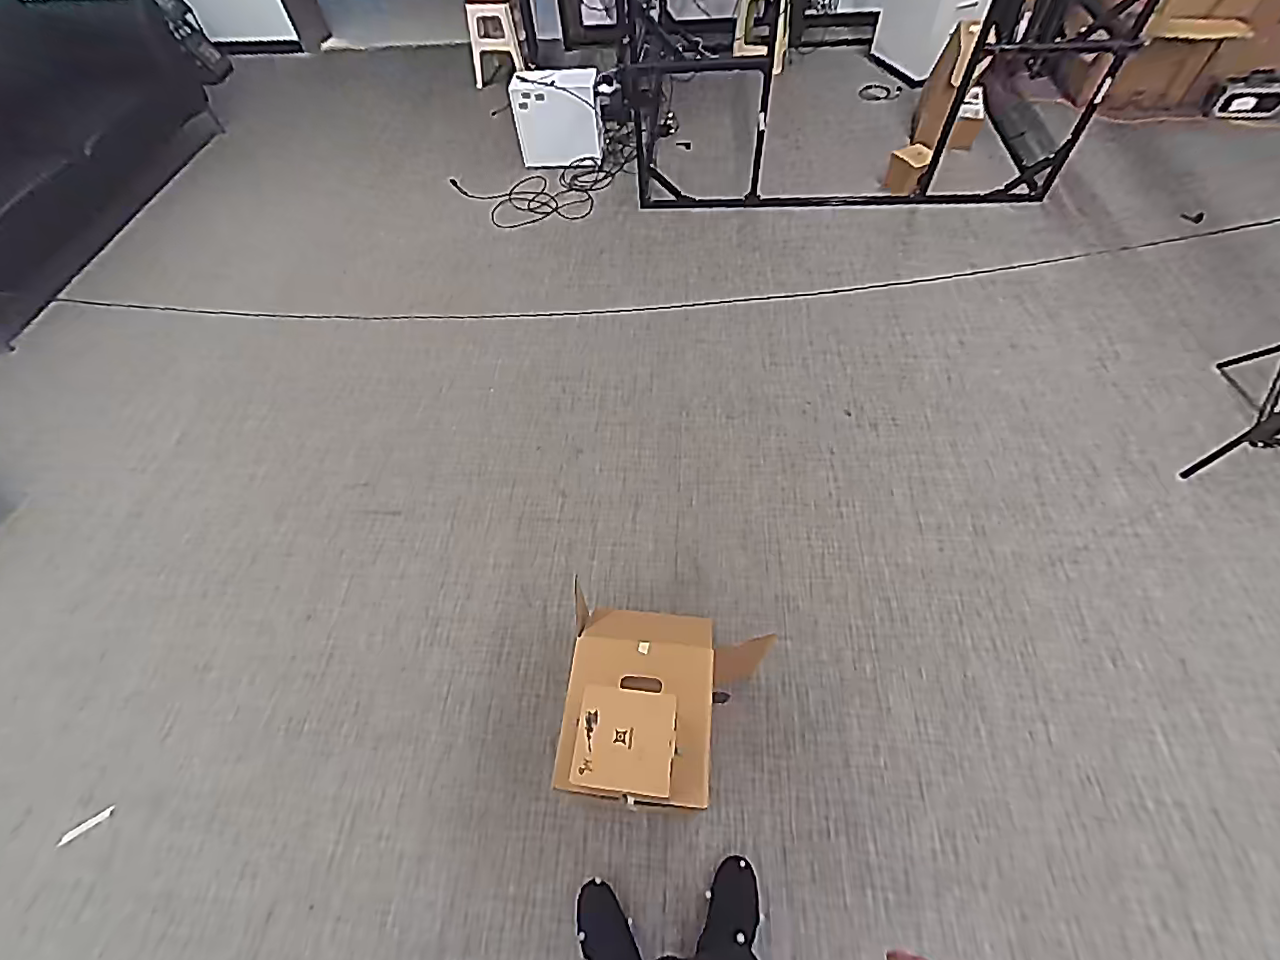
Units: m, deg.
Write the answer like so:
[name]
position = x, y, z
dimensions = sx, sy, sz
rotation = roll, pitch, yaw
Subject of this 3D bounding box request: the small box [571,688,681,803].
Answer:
[small box]
position = -0.019, 0.507, 1.029
dimensions = 0.179, 0.176, 0.168
rotation = 5, 59, 7
